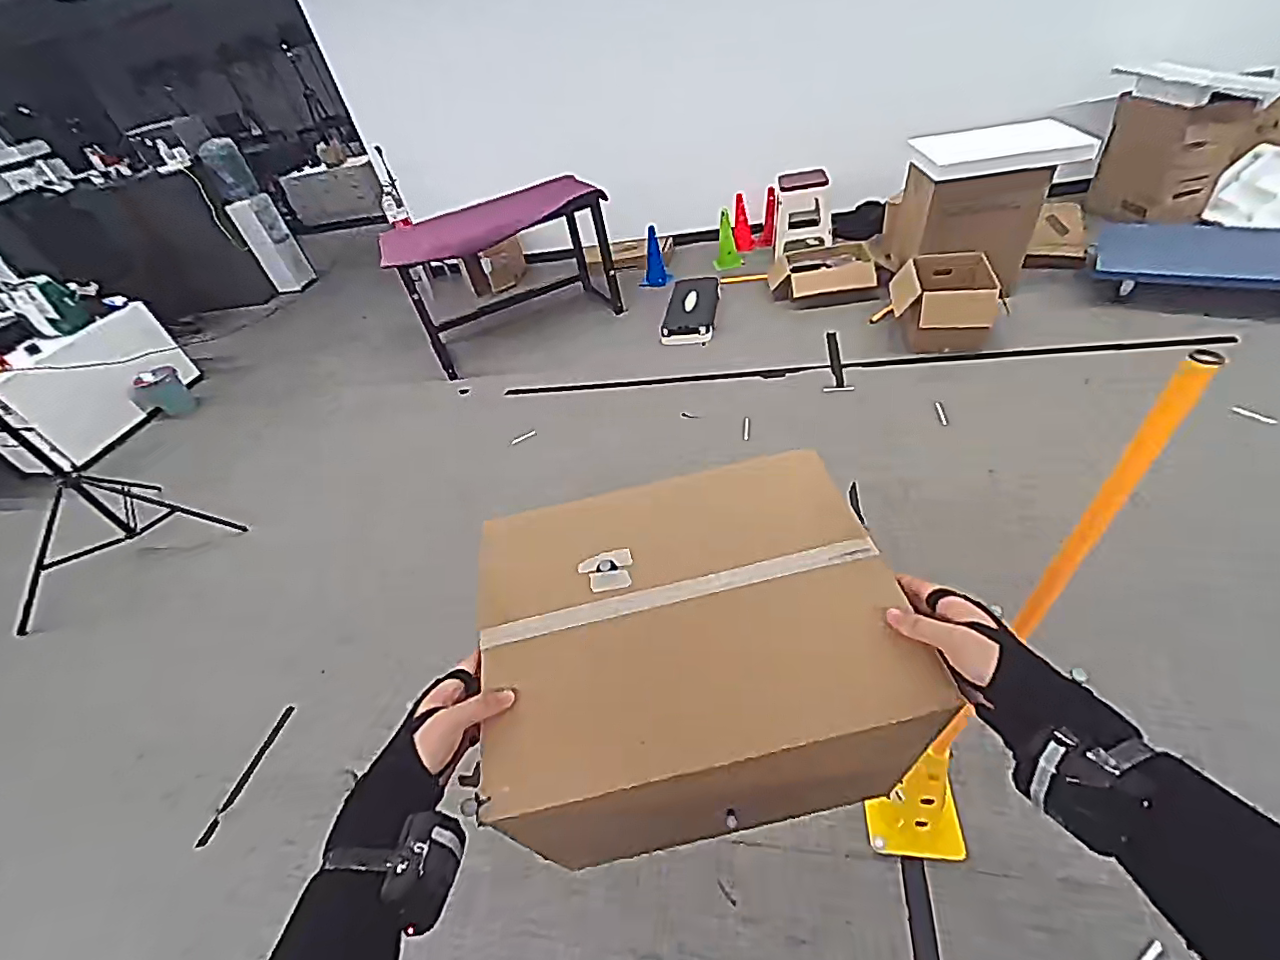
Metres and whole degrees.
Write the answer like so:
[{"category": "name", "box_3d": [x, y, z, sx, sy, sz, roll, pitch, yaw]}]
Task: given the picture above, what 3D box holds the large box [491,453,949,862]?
[{"category": "large box", "box_3d": [0.067, 0.220, 0.660, 0.408, 0.320, 0.320, -14, 46, -1]}]
